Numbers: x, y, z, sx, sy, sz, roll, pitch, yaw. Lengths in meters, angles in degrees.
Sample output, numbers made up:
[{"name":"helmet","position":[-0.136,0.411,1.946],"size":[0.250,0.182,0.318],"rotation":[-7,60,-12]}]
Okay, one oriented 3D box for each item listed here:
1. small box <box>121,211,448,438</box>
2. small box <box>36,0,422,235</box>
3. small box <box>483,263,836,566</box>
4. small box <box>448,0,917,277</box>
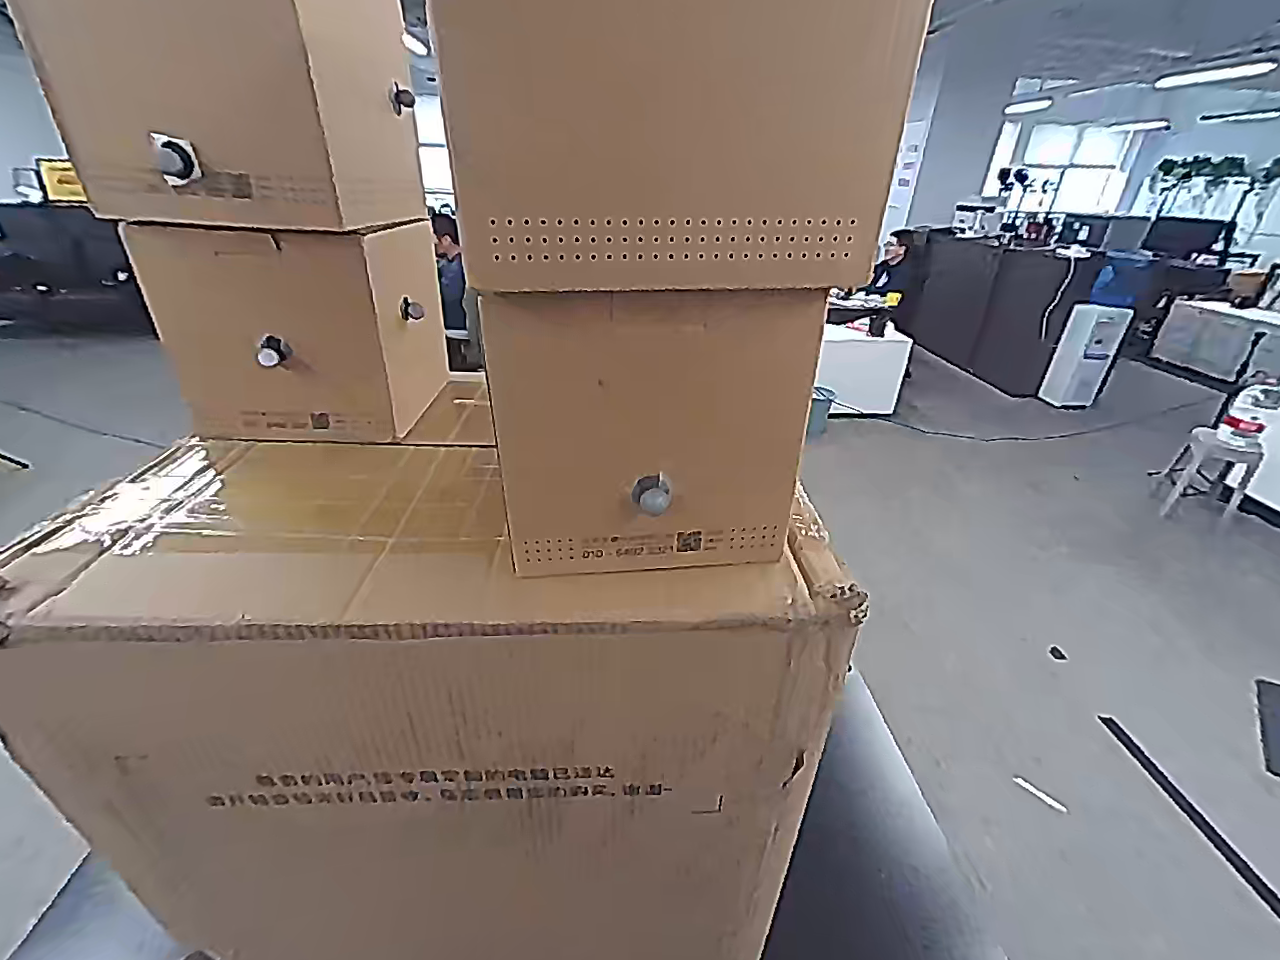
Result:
[{"name":"small box","position":[-0.282,-0.145,0.486],"size":[0.168,0.176,0.179],"rotation":[1,29,-4]},{"name":"small box","position":[-0.272,-0.281,0.393],"size":[0.168,0.176,0.179],"rotation":[1,29,-2]},{"name":"small box","position":[0.002,-0.064,0.355],"size":[0.168,0.176,0.179],"rotation":[-3,30,-5]},{"name":"small box","position":[0.010,-0.195,0.253],"size":[0.179,0.176,0.168],"rotation":[-3,31,-7]}]
